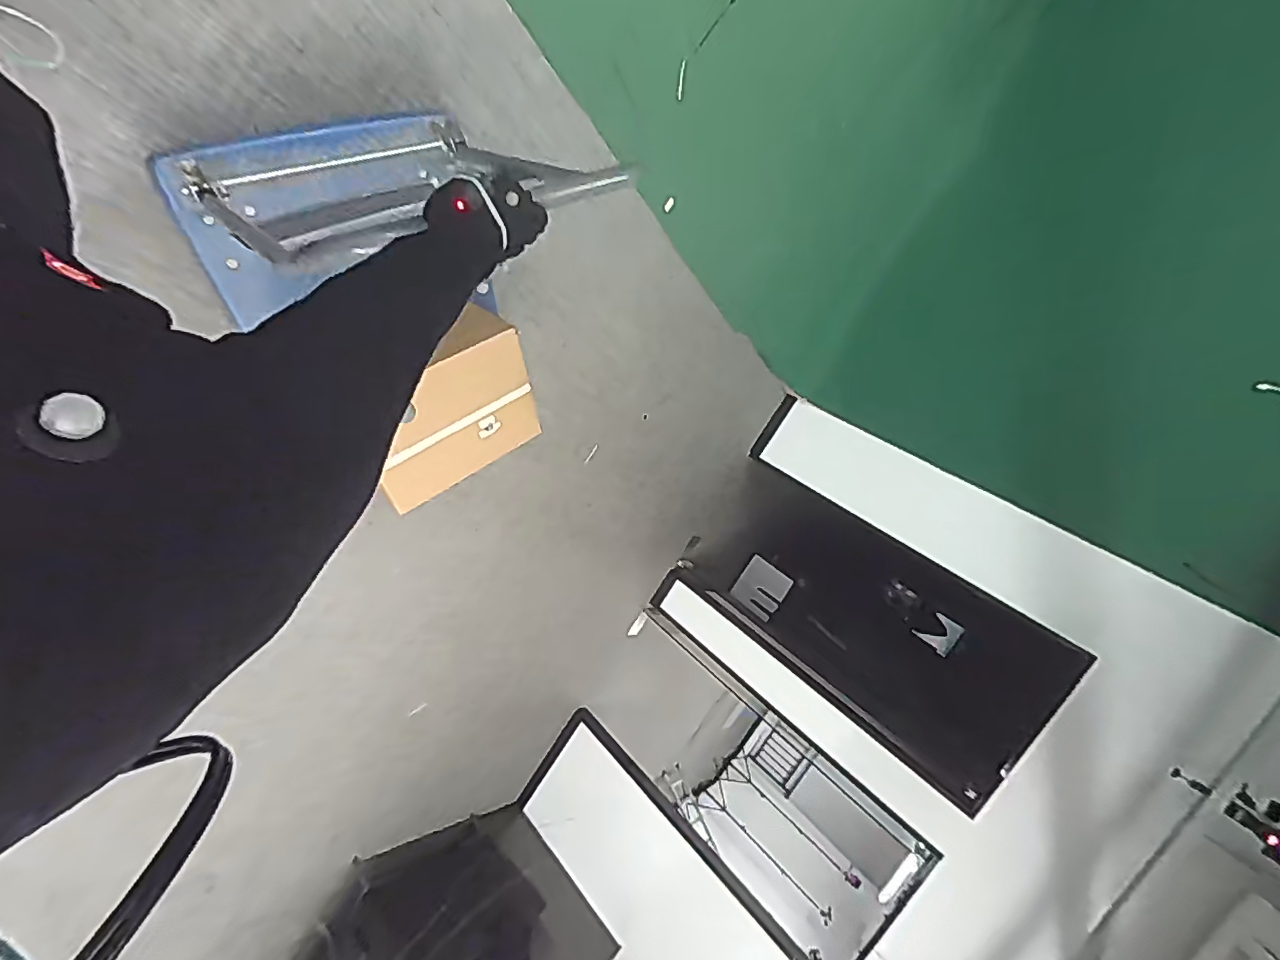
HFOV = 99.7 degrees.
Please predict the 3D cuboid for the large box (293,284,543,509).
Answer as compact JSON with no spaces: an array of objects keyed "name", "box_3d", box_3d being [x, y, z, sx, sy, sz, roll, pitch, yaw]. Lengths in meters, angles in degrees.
[{"name":"large box","box_3d":[-0.509,-0.214,1.296,0.408,0.320,0.320,-37,145,-27]}]
